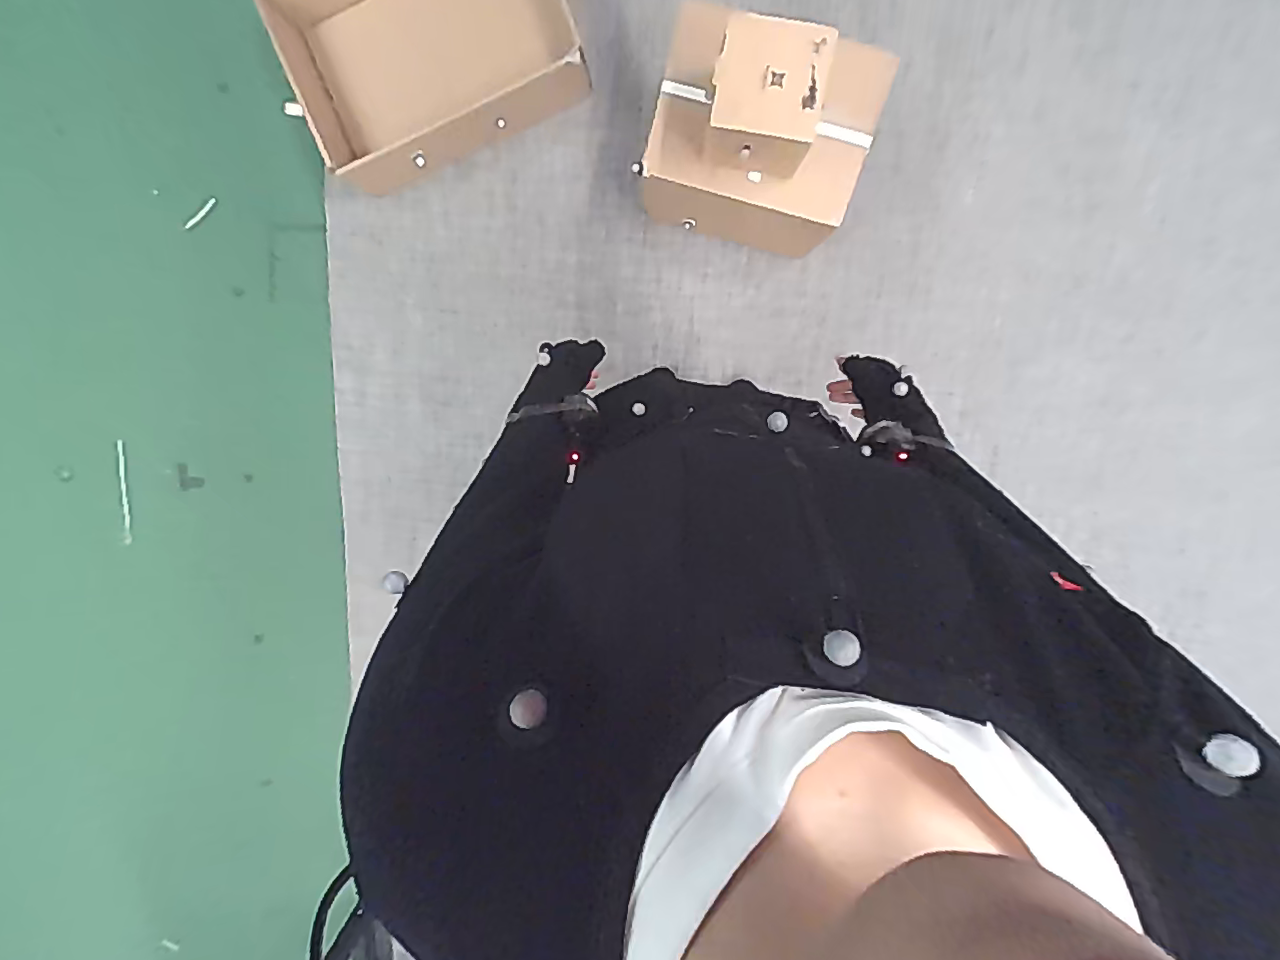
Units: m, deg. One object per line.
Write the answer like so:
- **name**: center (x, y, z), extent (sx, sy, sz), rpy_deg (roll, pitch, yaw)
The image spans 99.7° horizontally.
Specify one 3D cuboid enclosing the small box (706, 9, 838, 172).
- **small box**: center (0.214, -0.654, 0.930), extent (0.179, 0.176, 0.168), rpy_deg (11, 103, 3)
